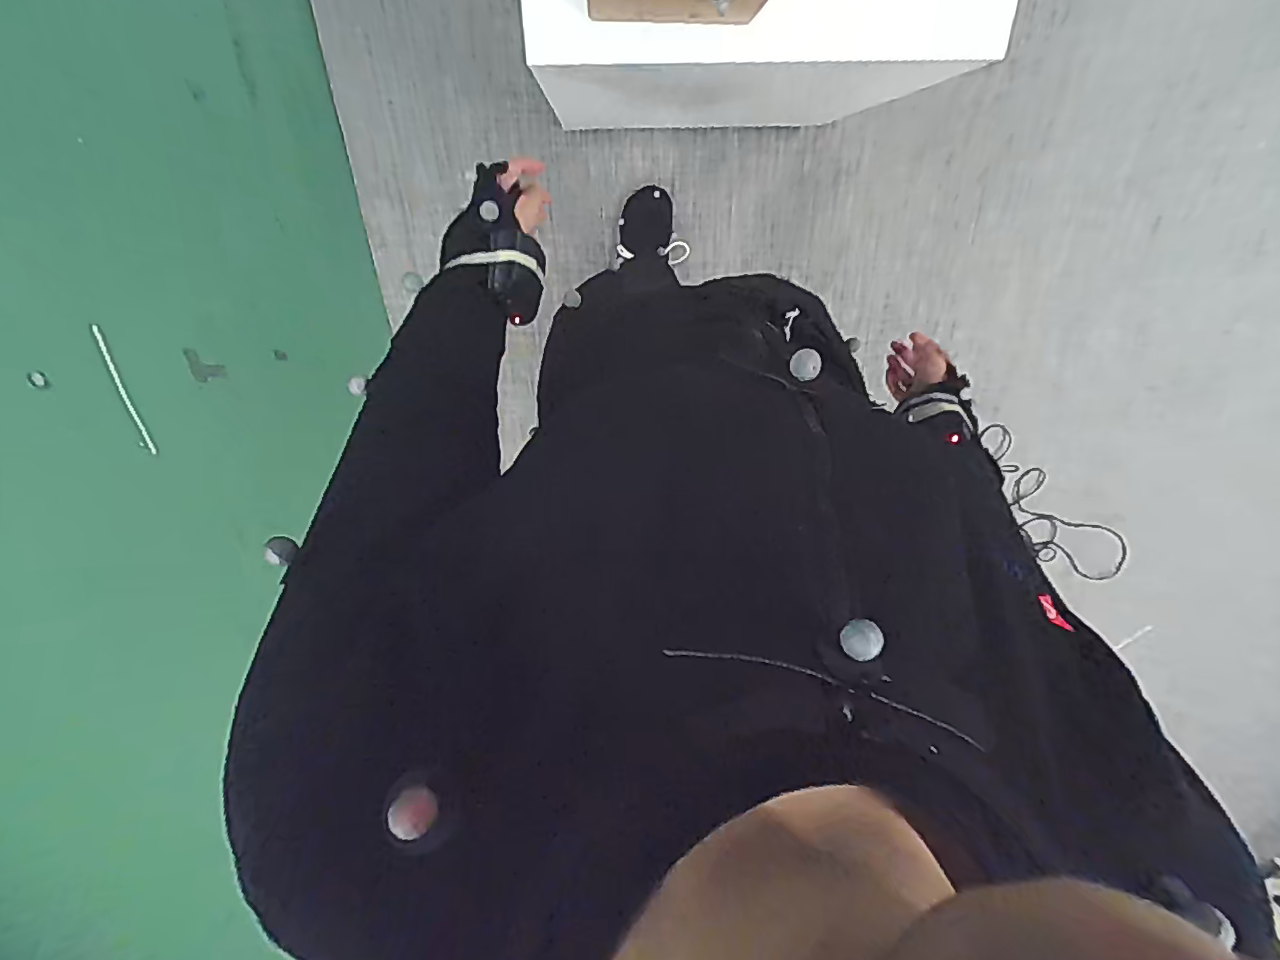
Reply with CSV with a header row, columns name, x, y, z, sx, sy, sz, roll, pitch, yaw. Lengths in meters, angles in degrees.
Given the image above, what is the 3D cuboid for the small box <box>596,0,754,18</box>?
name,x,y,z,sx,sy,sz,roll,pitch,yaw
small box,0.034,-0.502,0.431,0.168,0.176,0.179,-2,116,-4
